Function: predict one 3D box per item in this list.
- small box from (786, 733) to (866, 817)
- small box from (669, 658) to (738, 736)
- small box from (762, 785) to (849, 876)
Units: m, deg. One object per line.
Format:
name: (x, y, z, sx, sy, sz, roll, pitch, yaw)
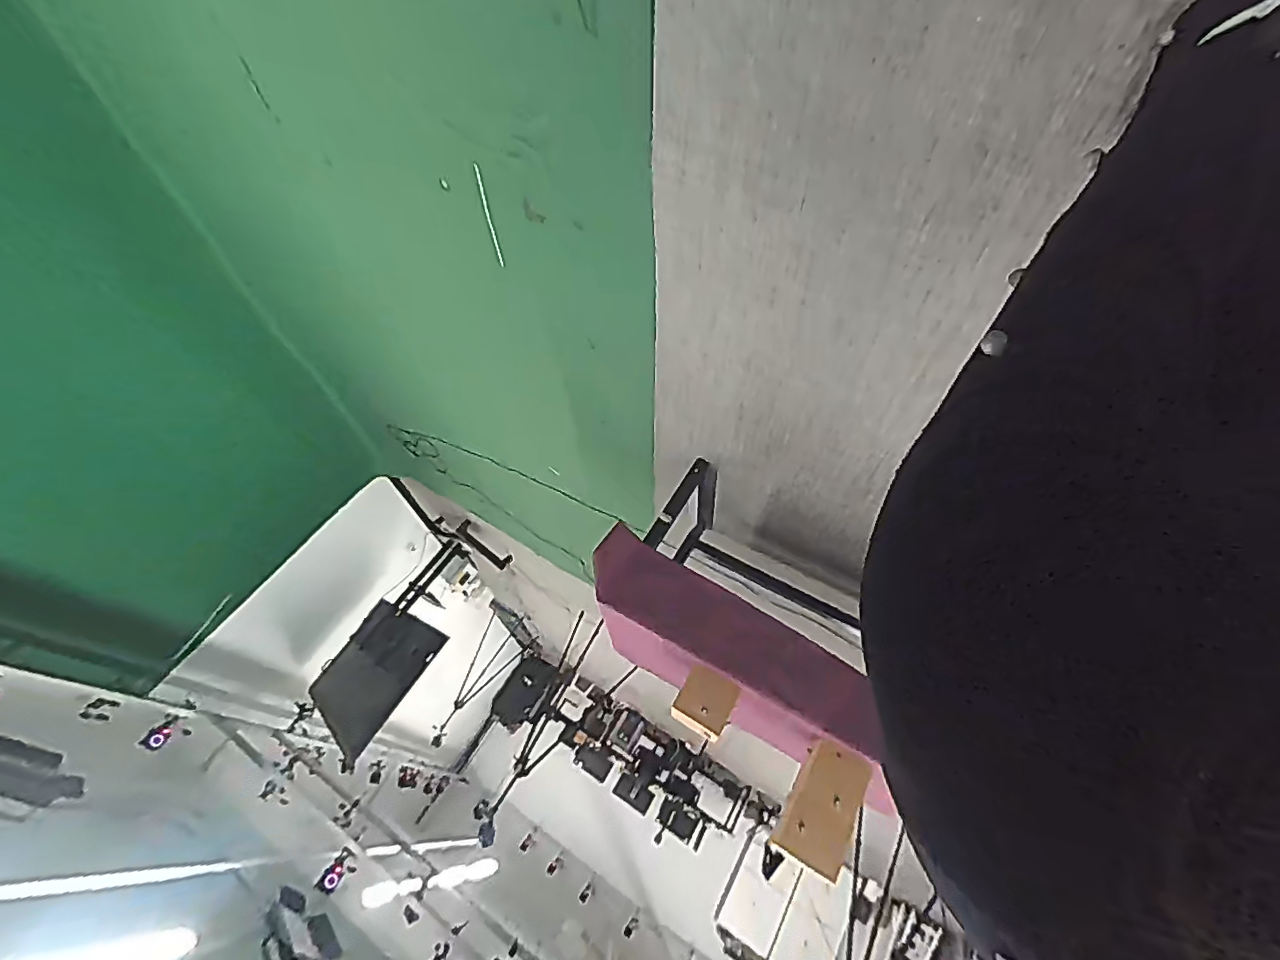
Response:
small box: (0.582, 0.922, 1.694, 0.168, 0.176, 0.179, 27, 153, 17)
small box: (0.213, 0.732, 1.828, 0.179, 0.176, 0.168, 27, 152, 19)
small box: (0.494, 1.040, 1.622, 0.179, 0.176, 0.168, 28, 153, 16)
